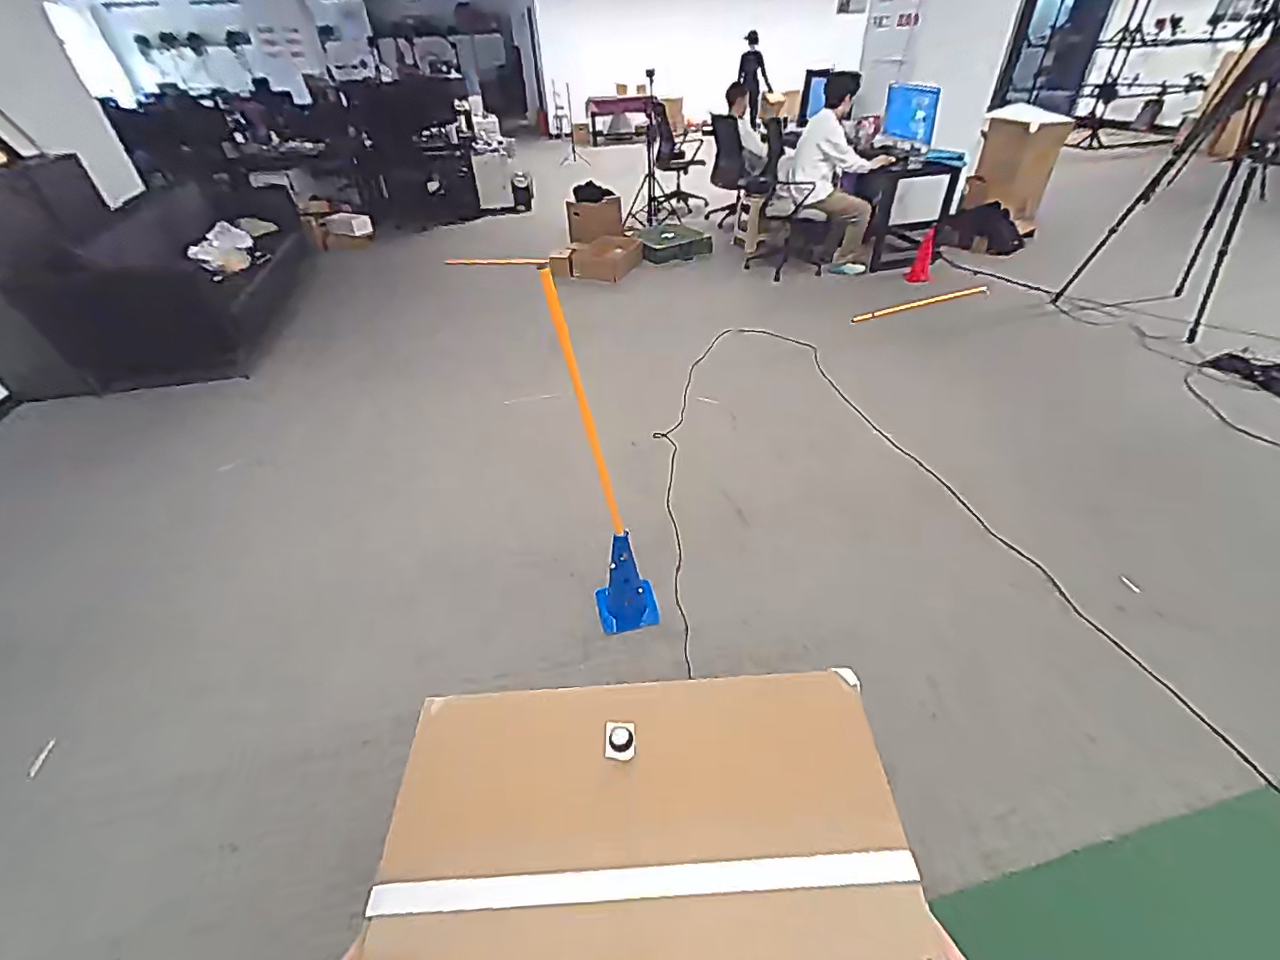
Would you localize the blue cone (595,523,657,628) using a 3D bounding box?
[{"bbox_3d":[-0.059,0.295,1.766,0.193,0.380,0.192,-13,40,-10],"label":"blue cone"}]
